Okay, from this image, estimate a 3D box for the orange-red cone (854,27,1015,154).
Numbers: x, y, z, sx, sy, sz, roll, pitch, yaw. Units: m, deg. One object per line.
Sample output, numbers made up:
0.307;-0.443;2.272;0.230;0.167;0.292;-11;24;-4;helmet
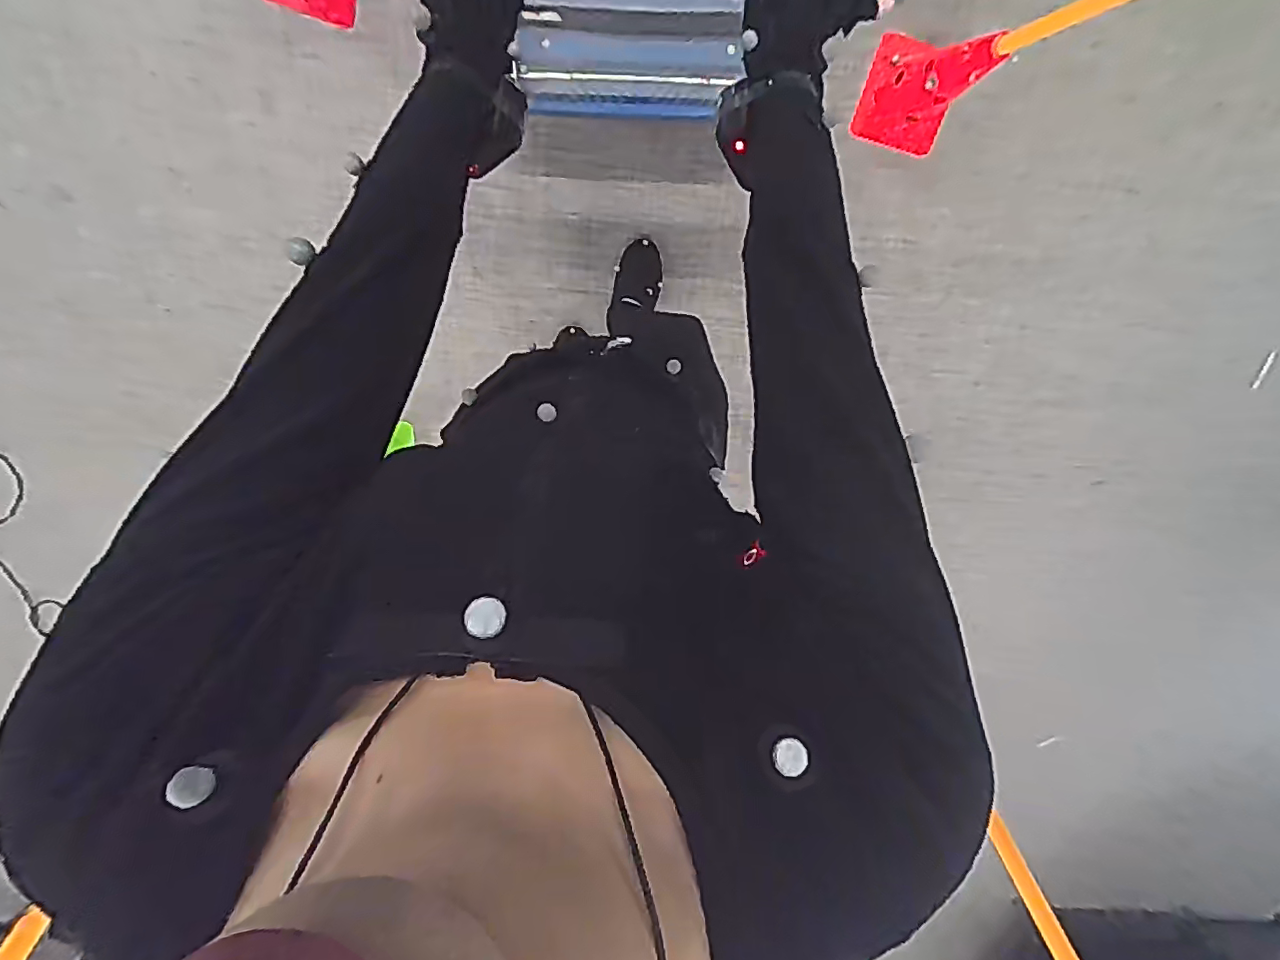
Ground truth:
0.597;-0.786;1.043;0.198;0.360;0.199;15;113;-6;orange-red cone
